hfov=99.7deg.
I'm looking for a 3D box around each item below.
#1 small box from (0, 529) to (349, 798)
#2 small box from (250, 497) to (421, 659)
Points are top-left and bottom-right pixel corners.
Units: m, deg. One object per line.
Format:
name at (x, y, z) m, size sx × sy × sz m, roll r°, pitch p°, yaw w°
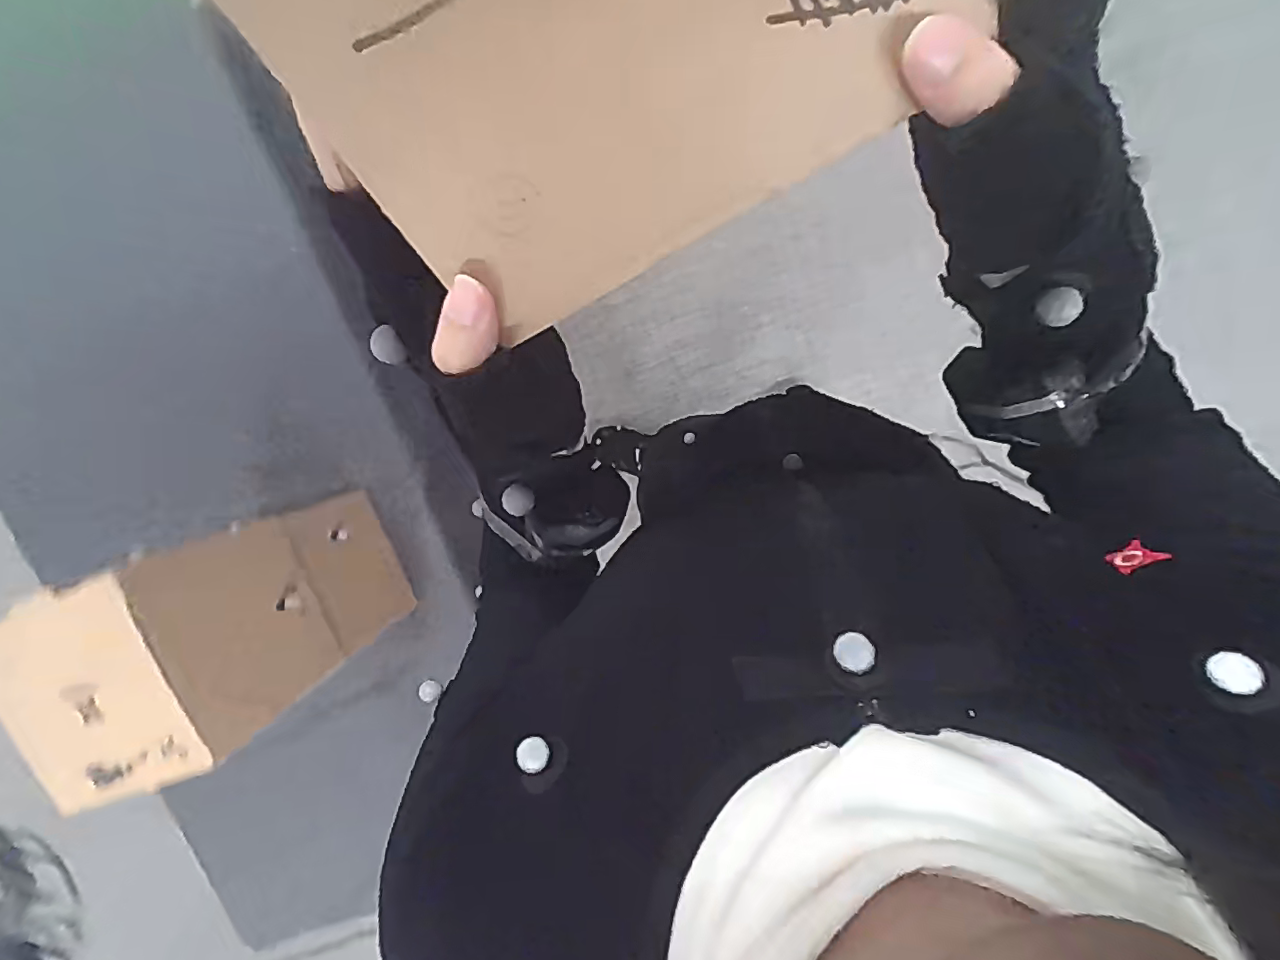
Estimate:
small box at (-0.434, 0.160, 0.529) m, size 0.168 × 0.176 × 0.179 m, roll -20°, pitch 97°, yaw 10°
small box at (-0.420, 0.132, 0.690) m, size 0.168 × 0.176 × 0.179 m, roll -21°, pitch 99°, yaw 11°
